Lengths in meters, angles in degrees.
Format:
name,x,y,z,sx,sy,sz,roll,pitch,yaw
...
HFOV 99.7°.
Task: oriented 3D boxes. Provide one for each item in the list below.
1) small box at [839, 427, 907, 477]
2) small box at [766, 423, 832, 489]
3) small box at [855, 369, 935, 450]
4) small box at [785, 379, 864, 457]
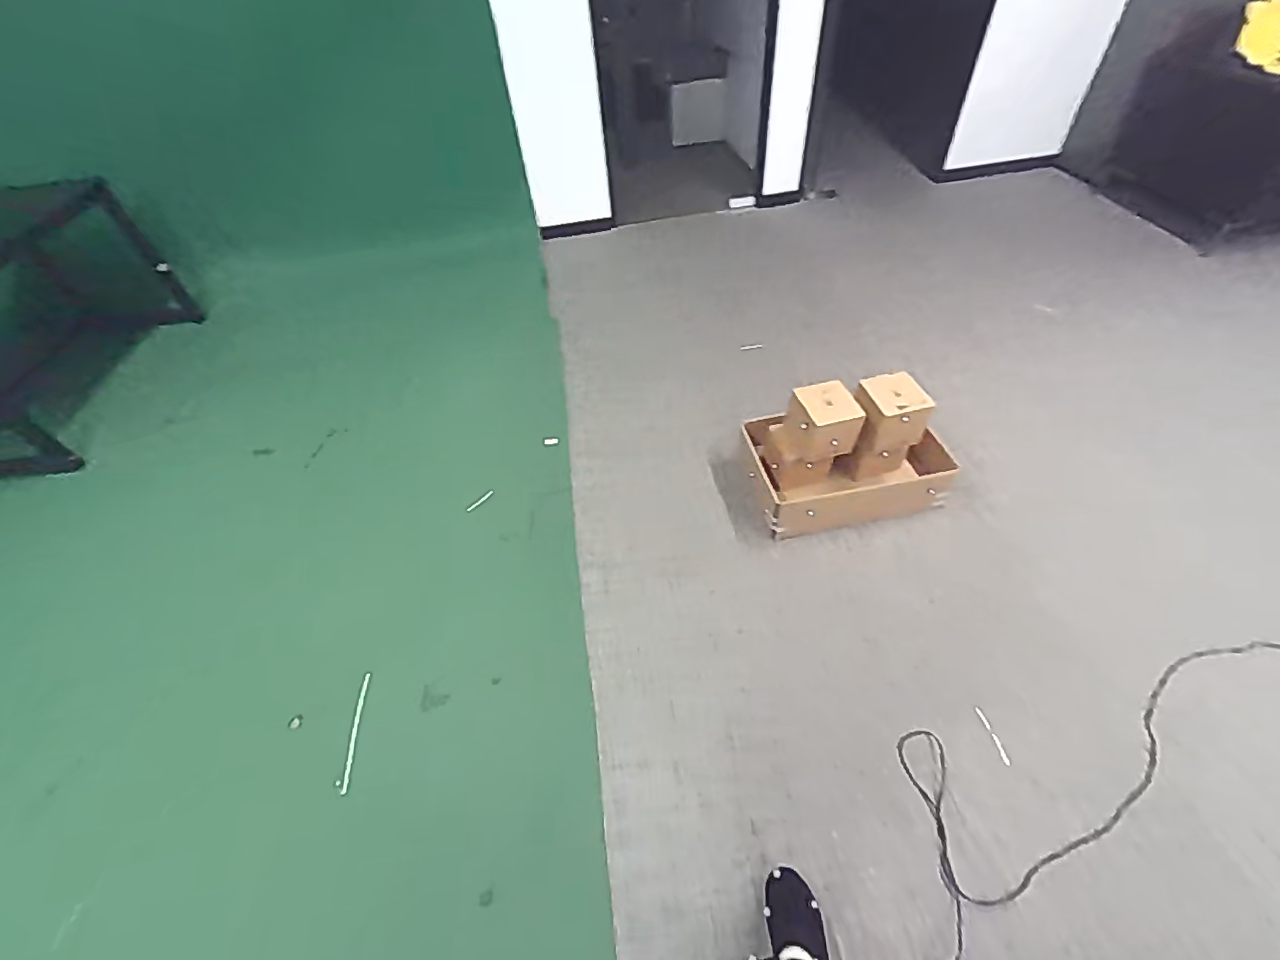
name,x,y,z,sx,sy,sz,roll,pitch,yaw
small box,0.803,-0.134,1.871,0.179,0.176,0.168,-17,50,-7
small box,0.543,-0.089,1.861,0.179,0.176,0.168,-12,50,-7
small box,0.800,-0.225,1.733,0.168,0.176,0.179,-14,49,-4
small box,0.583,-0.191,1.730,0.168,0.176,0.179,-14,50,-8
